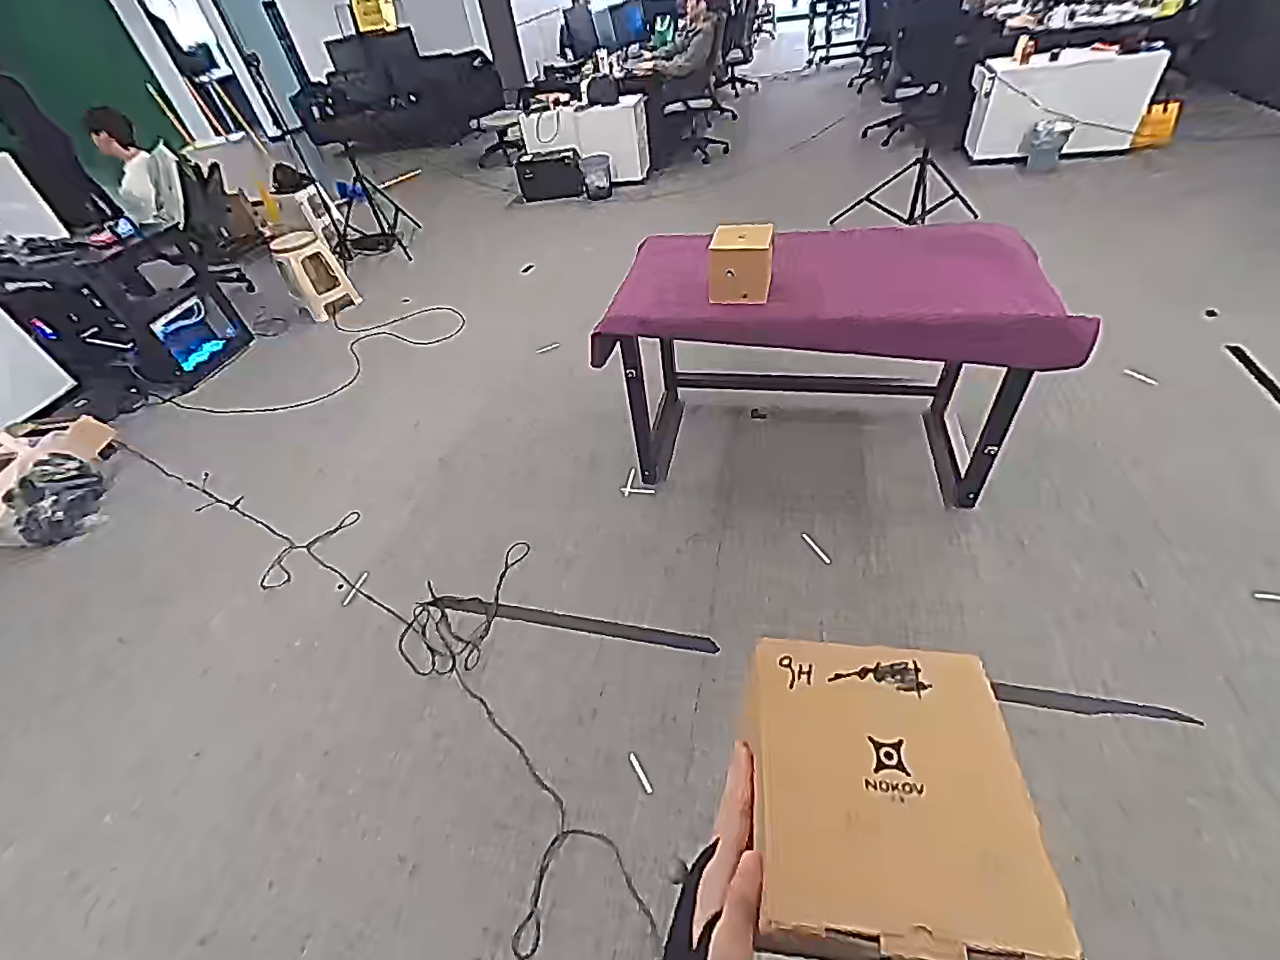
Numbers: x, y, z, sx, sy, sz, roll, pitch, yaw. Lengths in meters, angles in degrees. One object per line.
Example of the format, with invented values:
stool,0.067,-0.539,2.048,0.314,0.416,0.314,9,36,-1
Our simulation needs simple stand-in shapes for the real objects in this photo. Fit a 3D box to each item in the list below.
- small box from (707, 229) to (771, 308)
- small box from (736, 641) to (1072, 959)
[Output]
small box,0.297,-0.625,1.604,0.168,0.176,0.179,6,45,15
small box,0.165,0.247,0.412,0.168,0.176,0.179,4,47,5
